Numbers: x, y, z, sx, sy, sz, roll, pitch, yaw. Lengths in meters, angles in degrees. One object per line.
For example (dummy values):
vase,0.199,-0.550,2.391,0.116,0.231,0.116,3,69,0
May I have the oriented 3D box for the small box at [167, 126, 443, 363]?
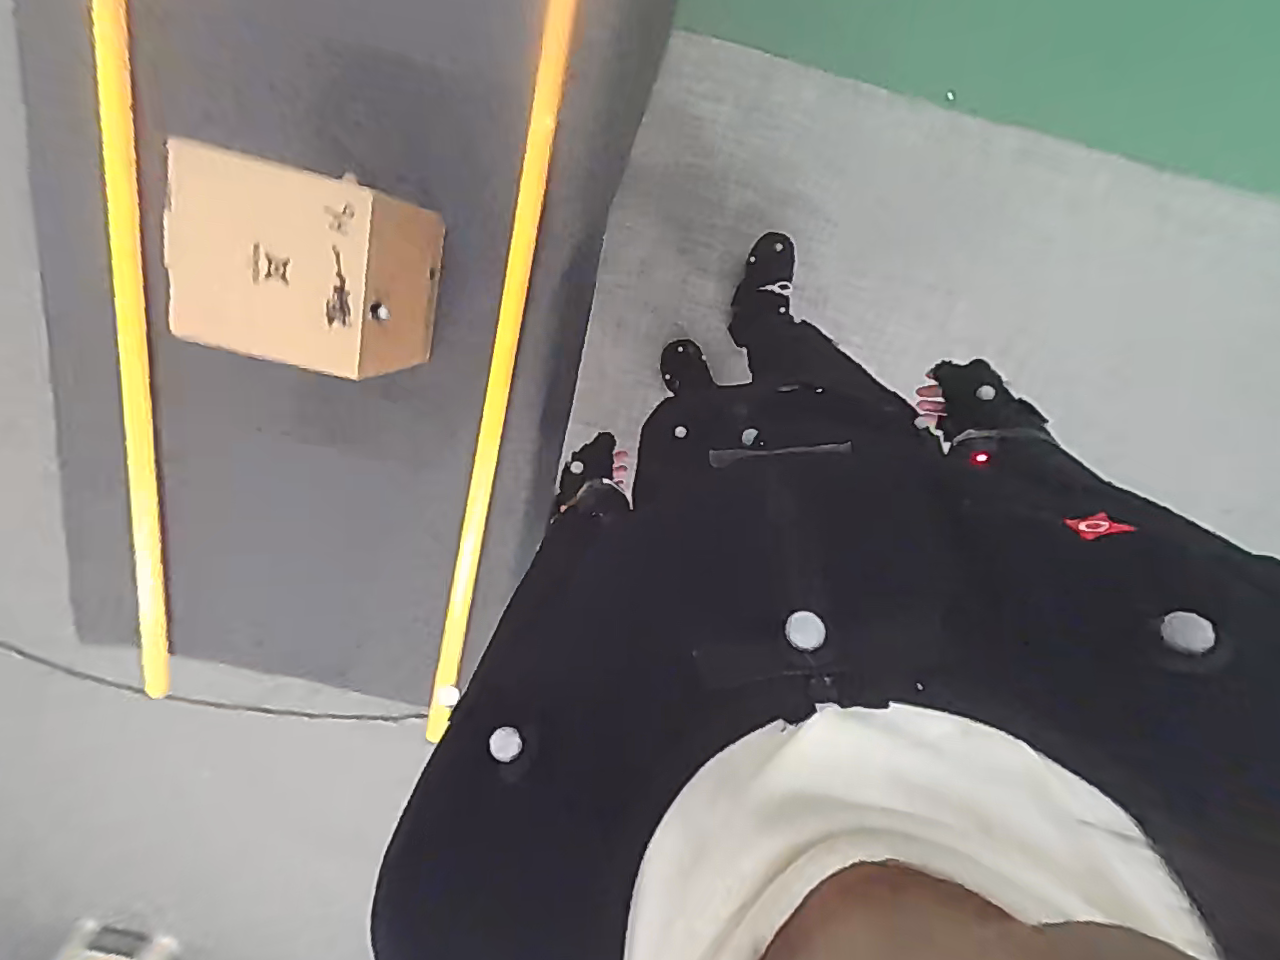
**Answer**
small box,-0.328,-0.228,0.555,0.179,0.176,0.168,14,109,-2
